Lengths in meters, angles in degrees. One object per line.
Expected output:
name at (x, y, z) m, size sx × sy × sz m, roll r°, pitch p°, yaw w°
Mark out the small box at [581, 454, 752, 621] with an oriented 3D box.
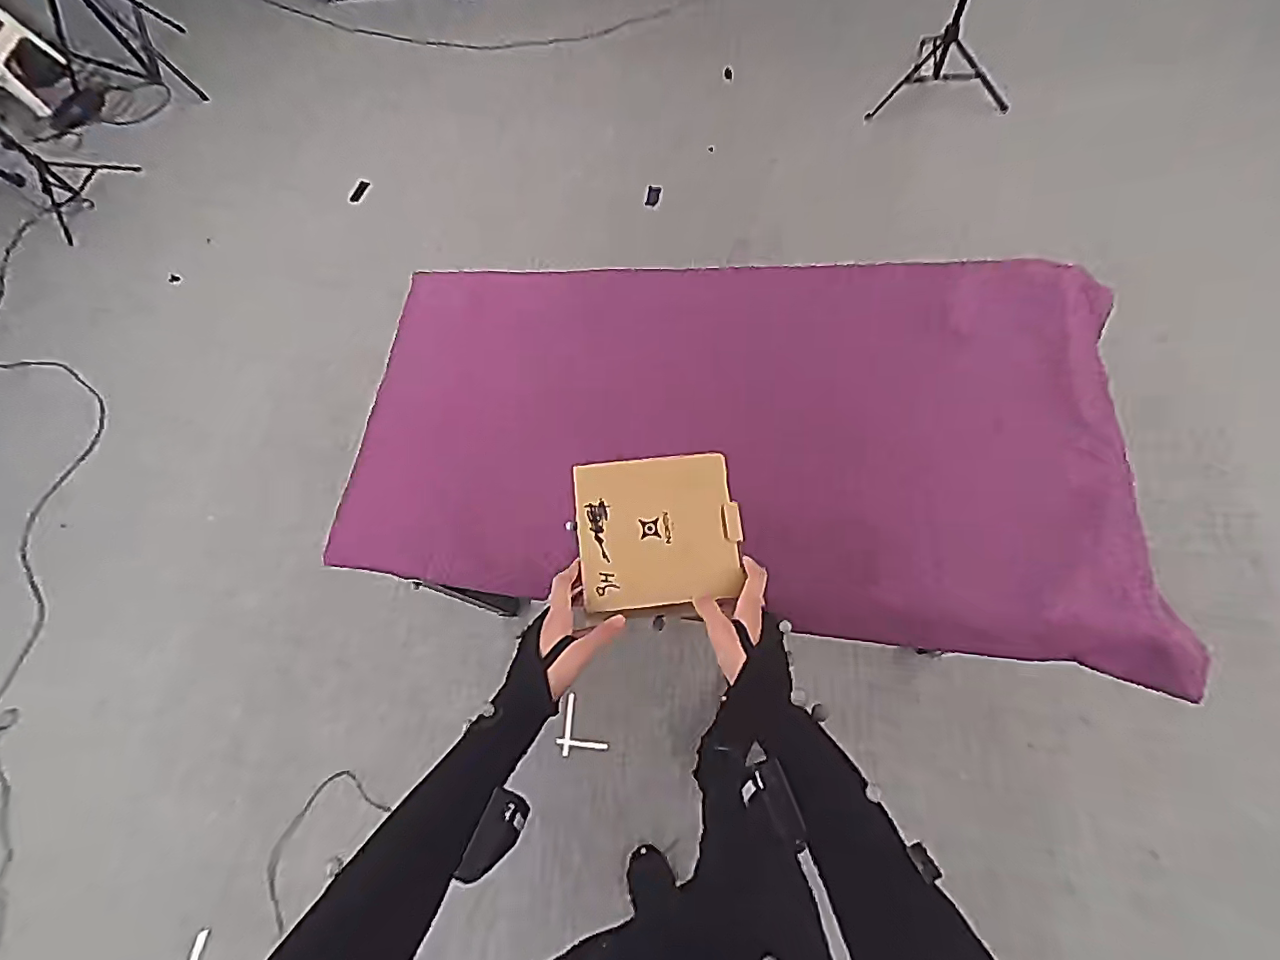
small box at (0.021, 0.077, 0.663) m, size 0.179 × 0.176 × 0.168 m, roll -5°, pitch 71°, yaw -5°
